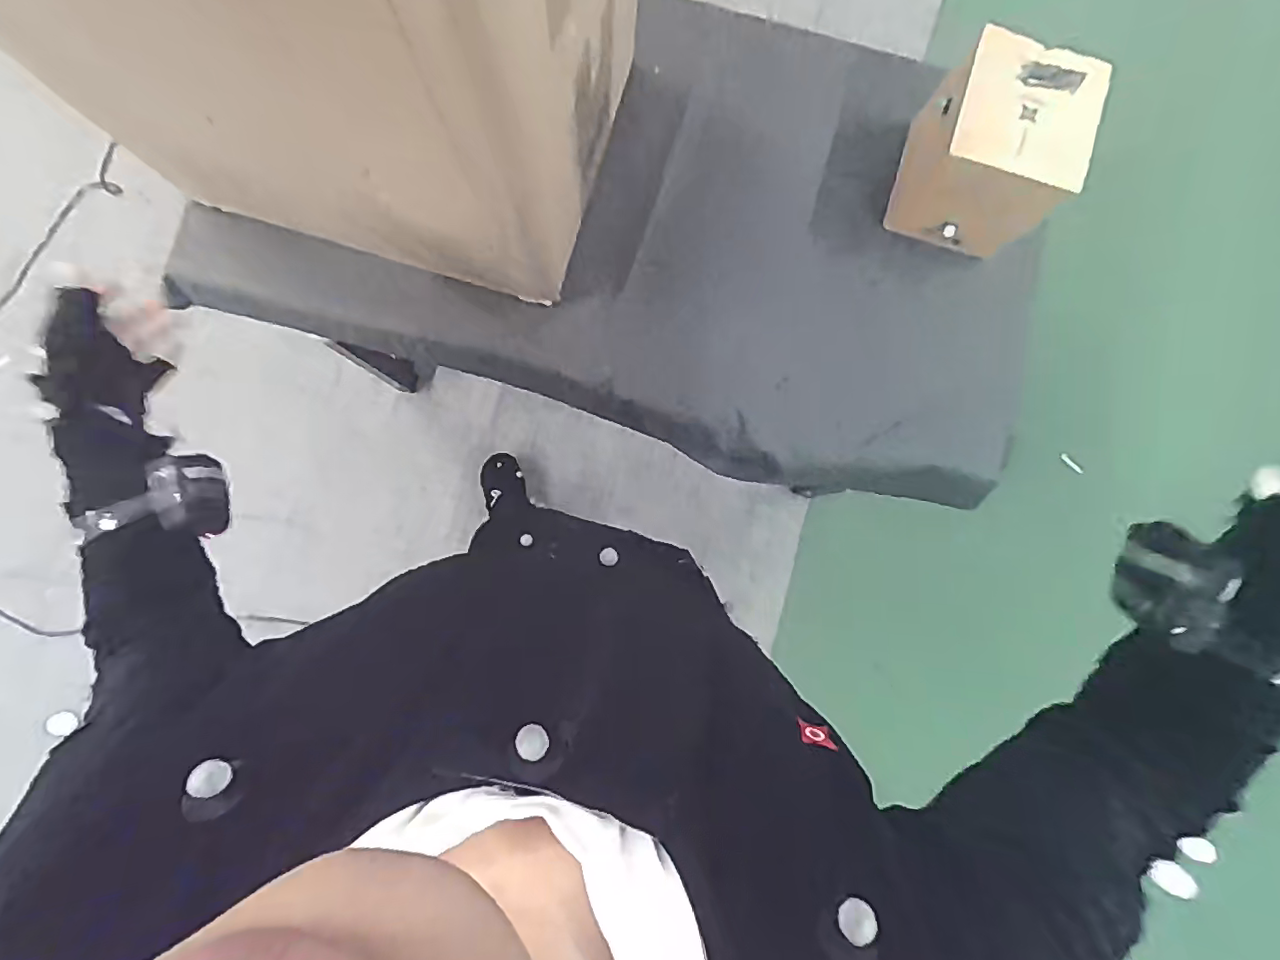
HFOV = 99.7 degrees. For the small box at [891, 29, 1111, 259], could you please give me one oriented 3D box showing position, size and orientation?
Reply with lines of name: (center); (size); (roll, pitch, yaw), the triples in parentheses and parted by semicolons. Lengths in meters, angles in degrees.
small box: (0.470, -0.438, 0.731); (0.168, 0.176, 0.179); (18, 85, 0)
